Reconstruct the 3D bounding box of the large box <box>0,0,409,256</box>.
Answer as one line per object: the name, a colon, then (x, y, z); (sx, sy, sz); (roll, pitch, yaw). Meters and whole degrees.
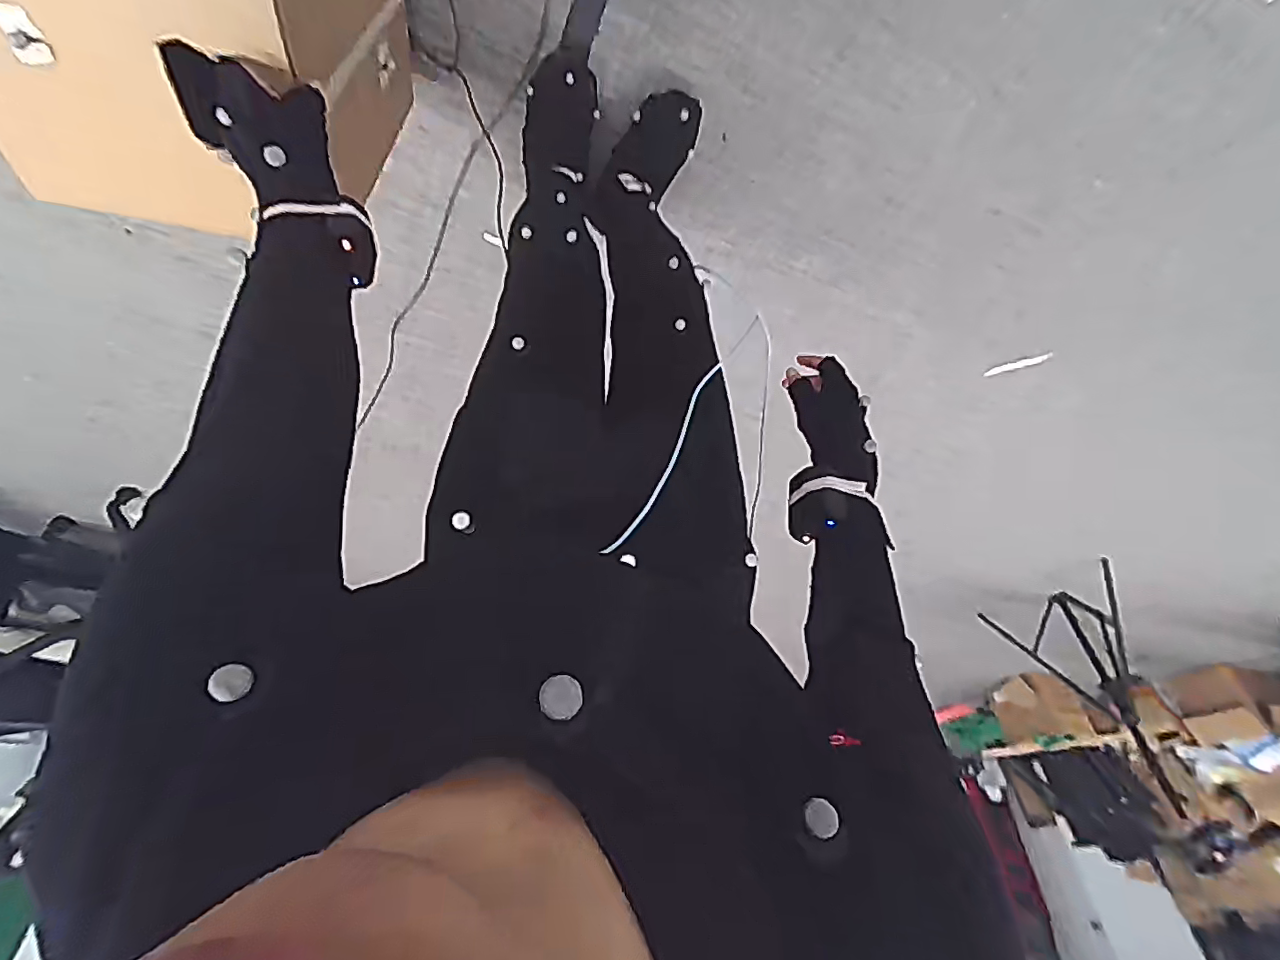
large box: (-0.490, -0.536, 0.626); (0.320, 0.408, 0.320); (7, 147, -12)
